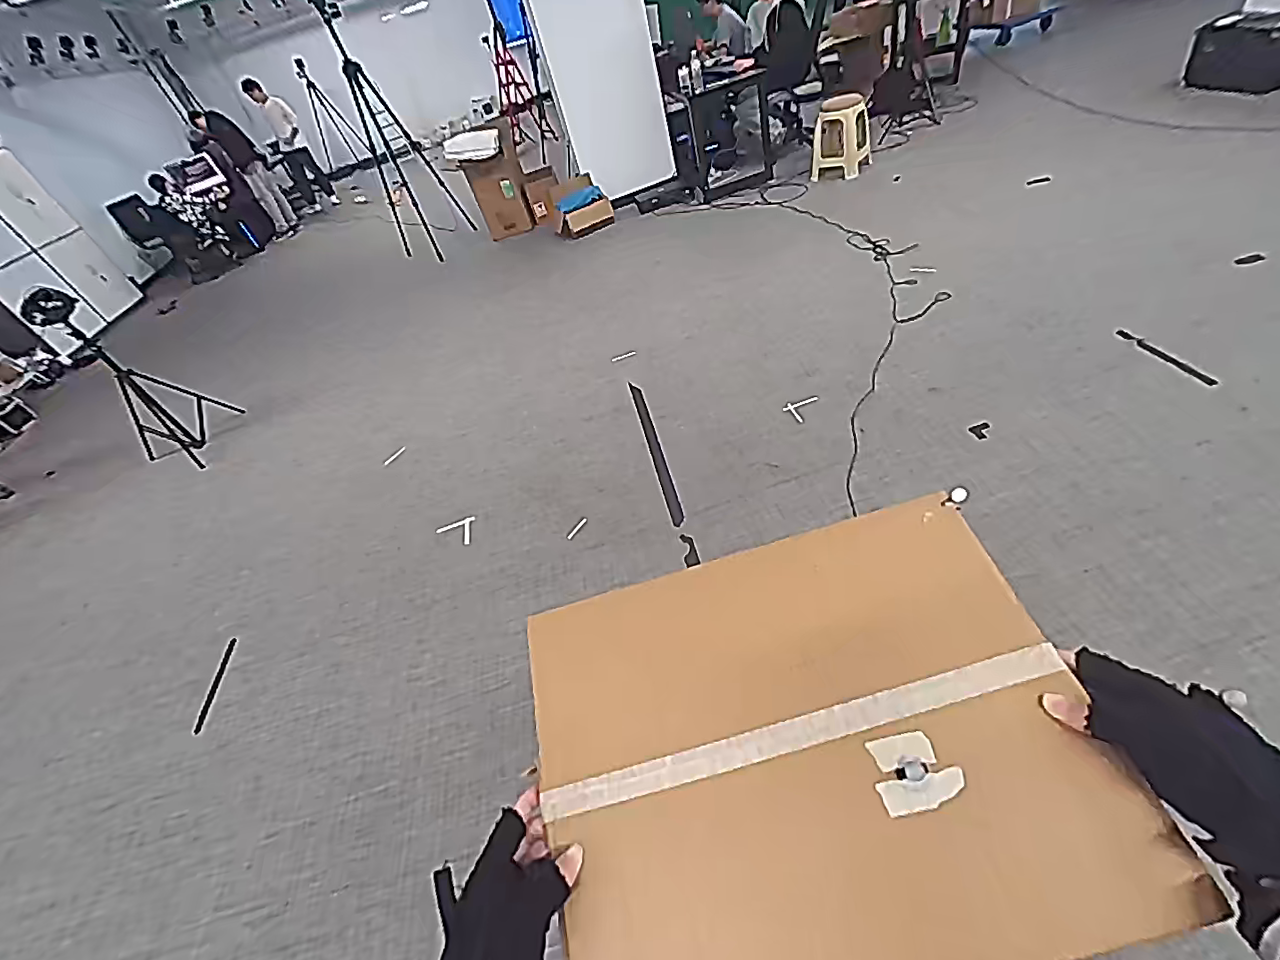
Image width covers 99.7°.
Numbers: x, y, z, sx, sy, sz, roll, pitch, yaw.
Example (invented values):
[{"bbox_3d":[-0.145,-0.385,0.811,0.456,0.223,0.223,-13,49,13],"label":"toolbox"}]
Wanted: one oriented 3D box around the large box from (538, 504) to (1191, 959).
[{"bbox_3d":[0.152,0.284,0.548,0.408,0.320,0.320,-18,55,2],"label":"large box"}]
